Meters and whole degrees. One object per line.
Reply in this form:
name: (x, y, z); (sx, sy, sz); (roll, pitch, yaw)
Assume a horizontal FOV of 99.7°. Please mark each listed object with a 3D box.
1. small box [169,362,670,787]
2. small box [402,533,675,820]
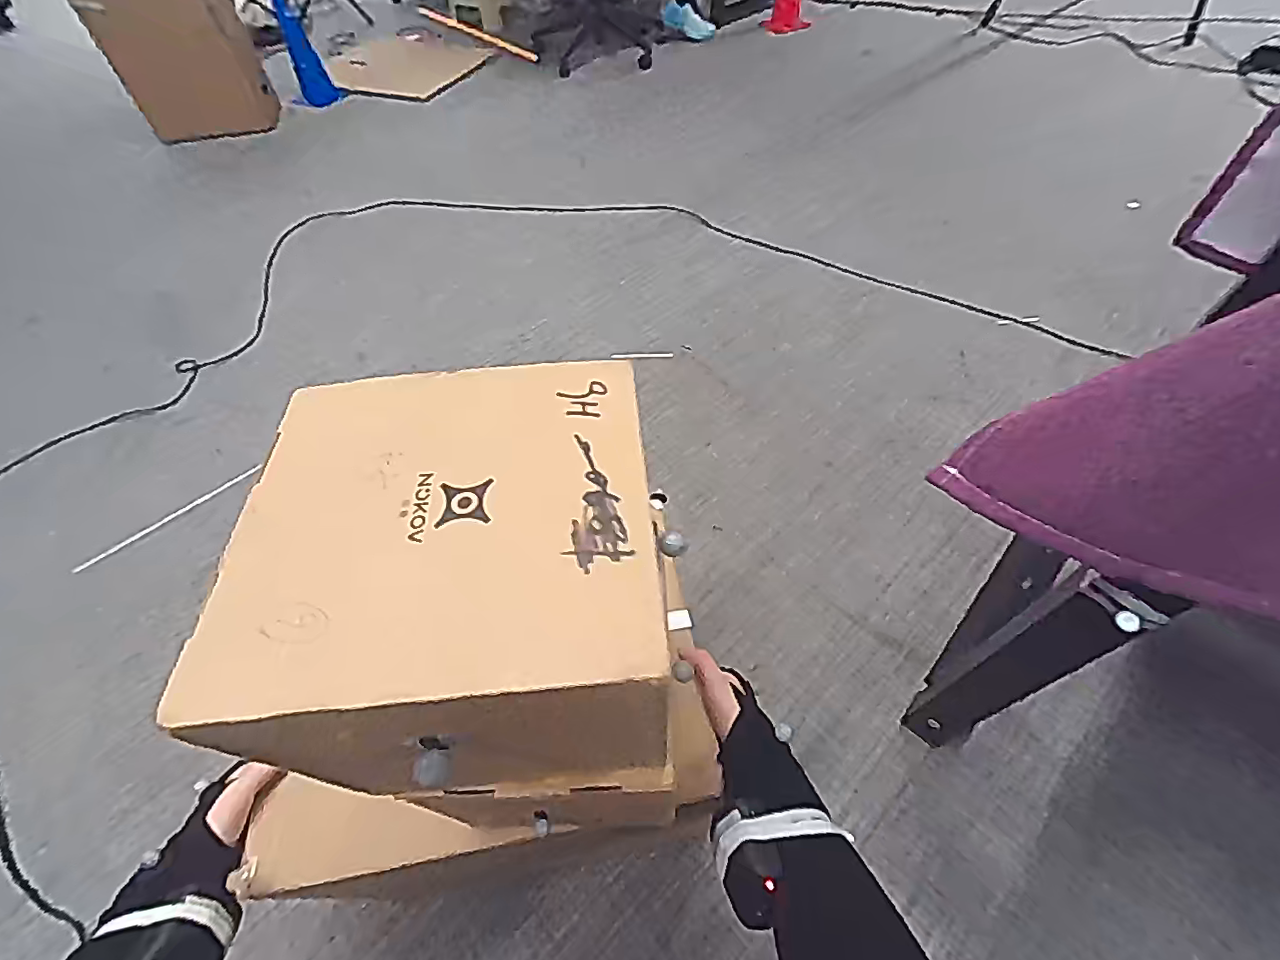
small box: (-0.078, 0.060, 0.296); (0.179, 0.176, 0.168); (-5, 55, -1)
small box: (-0.060, 0.159, 0.428); (0.168, 0.176, 0.179); (-2, 54, 1)
